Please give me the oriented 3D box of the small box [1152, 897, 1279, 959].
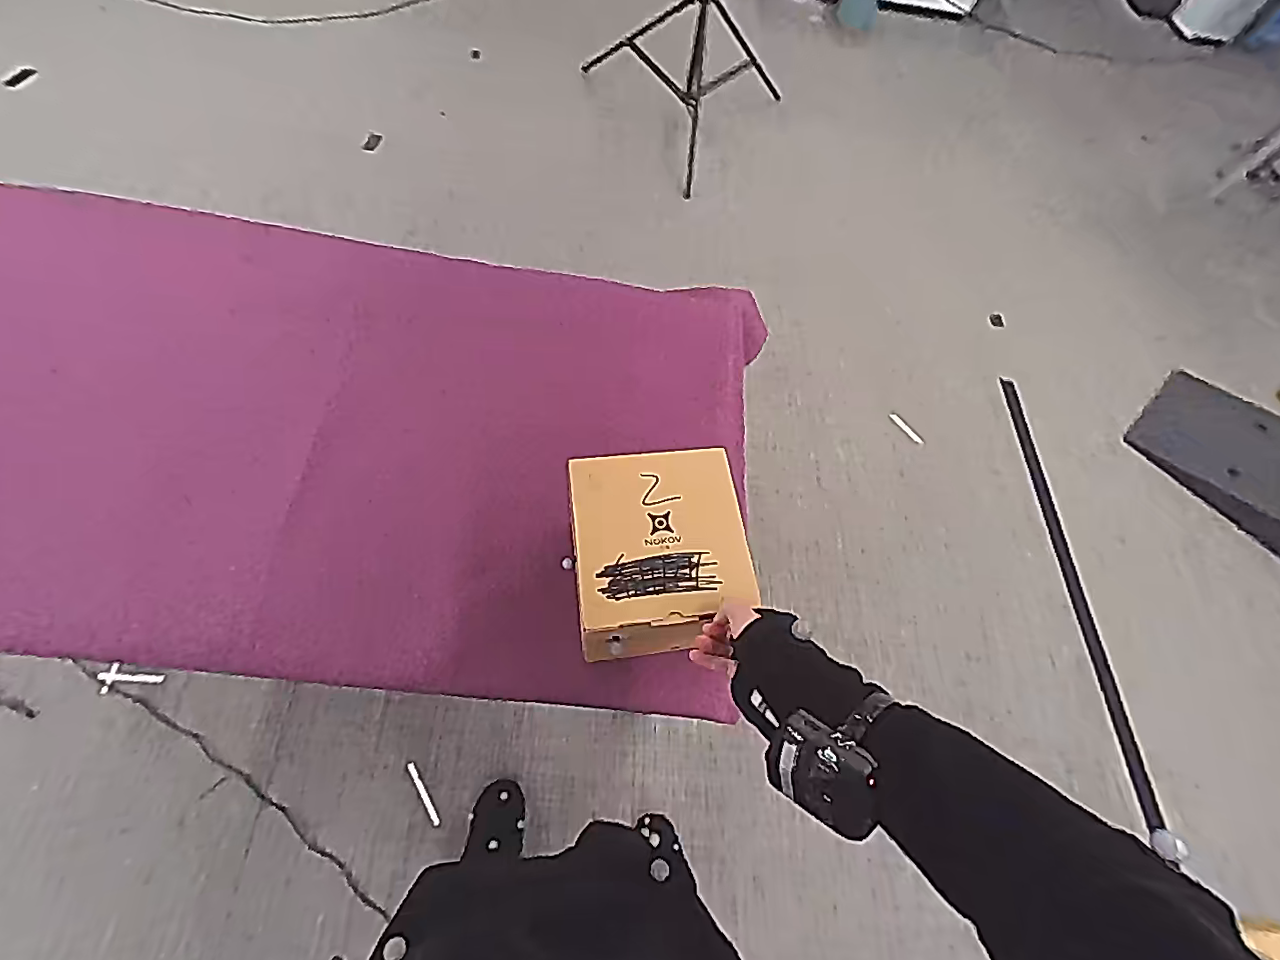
[{"bbox_3d":[1.091,0.877,0.978,0.179,0.176,0.168,6,63,-6],"label":"small box"}]
